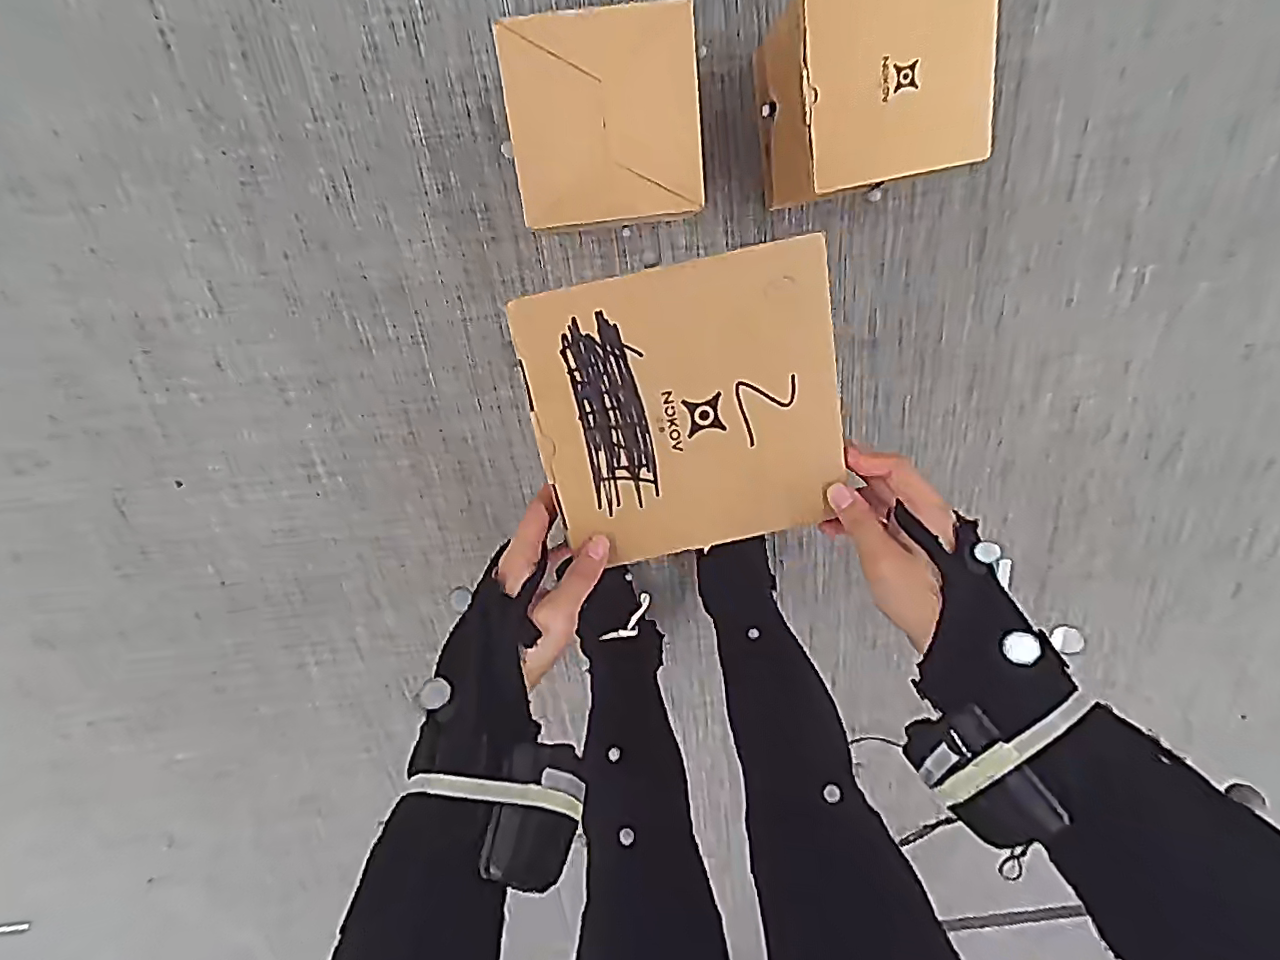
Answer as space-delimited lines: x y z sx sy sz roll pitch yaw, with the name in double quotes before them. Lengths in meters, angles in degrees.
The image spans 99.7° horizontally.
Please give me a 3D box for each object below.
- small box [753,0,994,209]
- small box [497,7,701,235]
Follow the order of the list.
"small box" 0.232 -0.396 0.570 0.179 0.176 0.168 -12 112 1
"small box" -0.035 -0.357 0.566 0.179 0.176 0.168 -7 113 -1
